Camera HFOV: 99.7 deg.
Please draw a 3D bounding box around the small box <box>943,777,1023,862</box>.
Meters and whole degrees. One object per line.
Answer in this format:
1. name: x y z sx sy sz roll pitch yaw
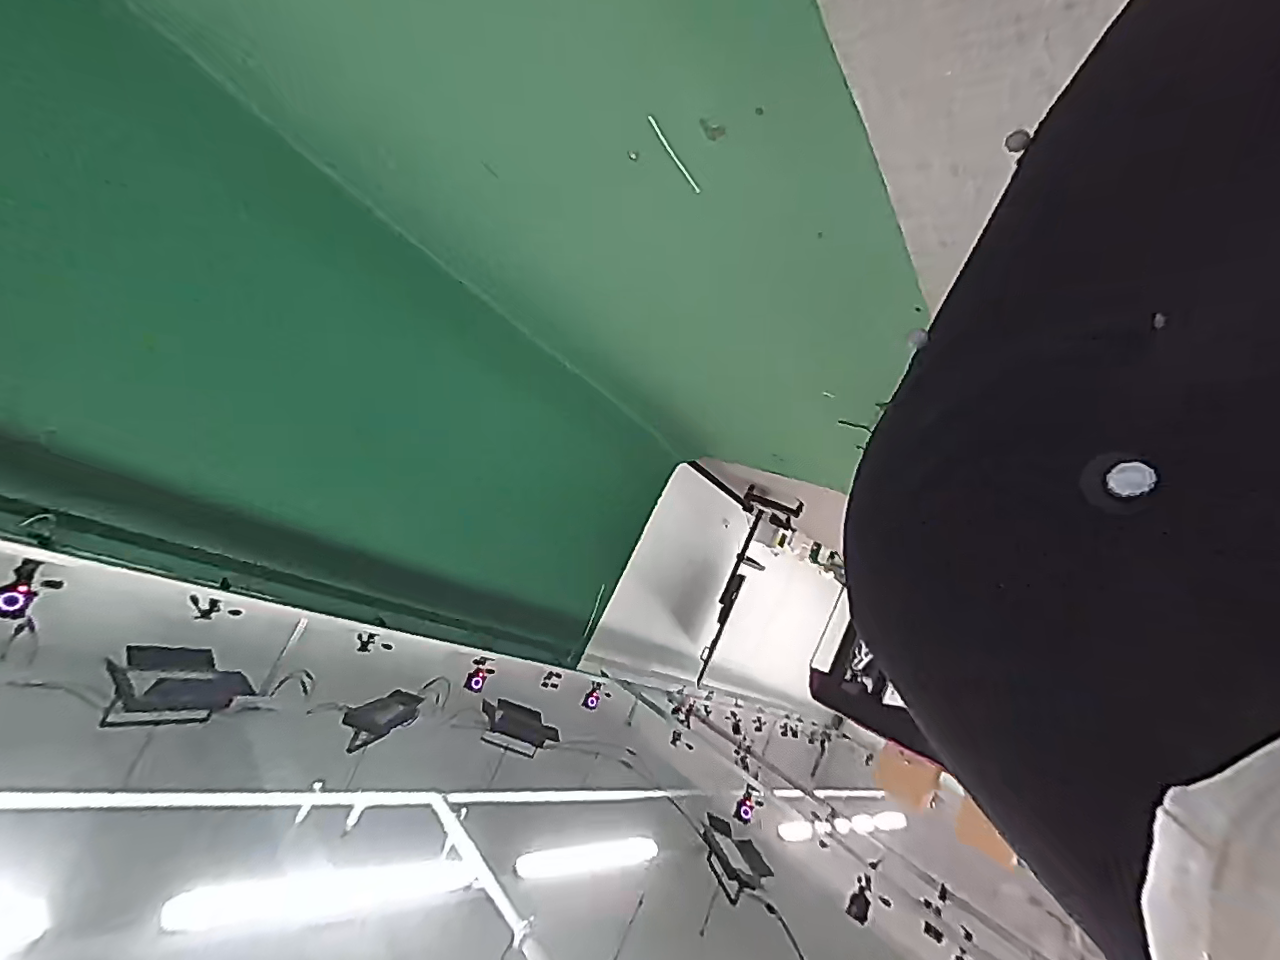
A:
1. small box: 1.100 1.073 1.727 0.168 0.176 0.179 18 169 44
